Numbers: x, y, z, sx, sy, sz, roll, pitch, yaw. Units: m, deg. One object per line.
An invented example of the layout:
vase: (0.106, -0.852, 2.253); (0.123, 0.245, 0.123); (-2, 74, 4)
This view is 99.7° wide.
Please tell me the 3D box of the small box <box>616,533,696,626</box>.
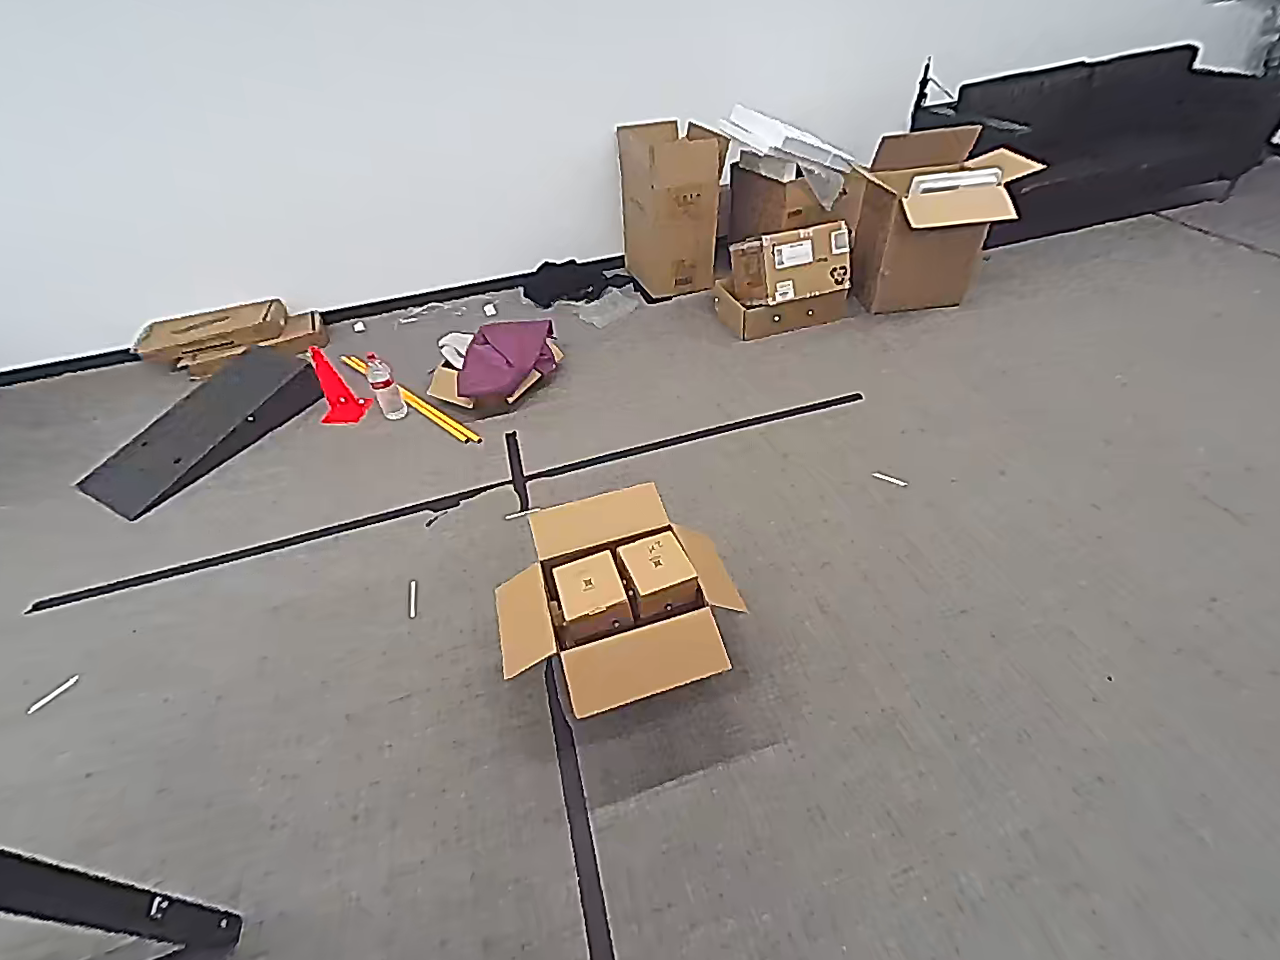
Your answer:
small box: (0.042, 0.283, 1.503); (0.168, 0.176, 0.179); (-16, 45, -17)
